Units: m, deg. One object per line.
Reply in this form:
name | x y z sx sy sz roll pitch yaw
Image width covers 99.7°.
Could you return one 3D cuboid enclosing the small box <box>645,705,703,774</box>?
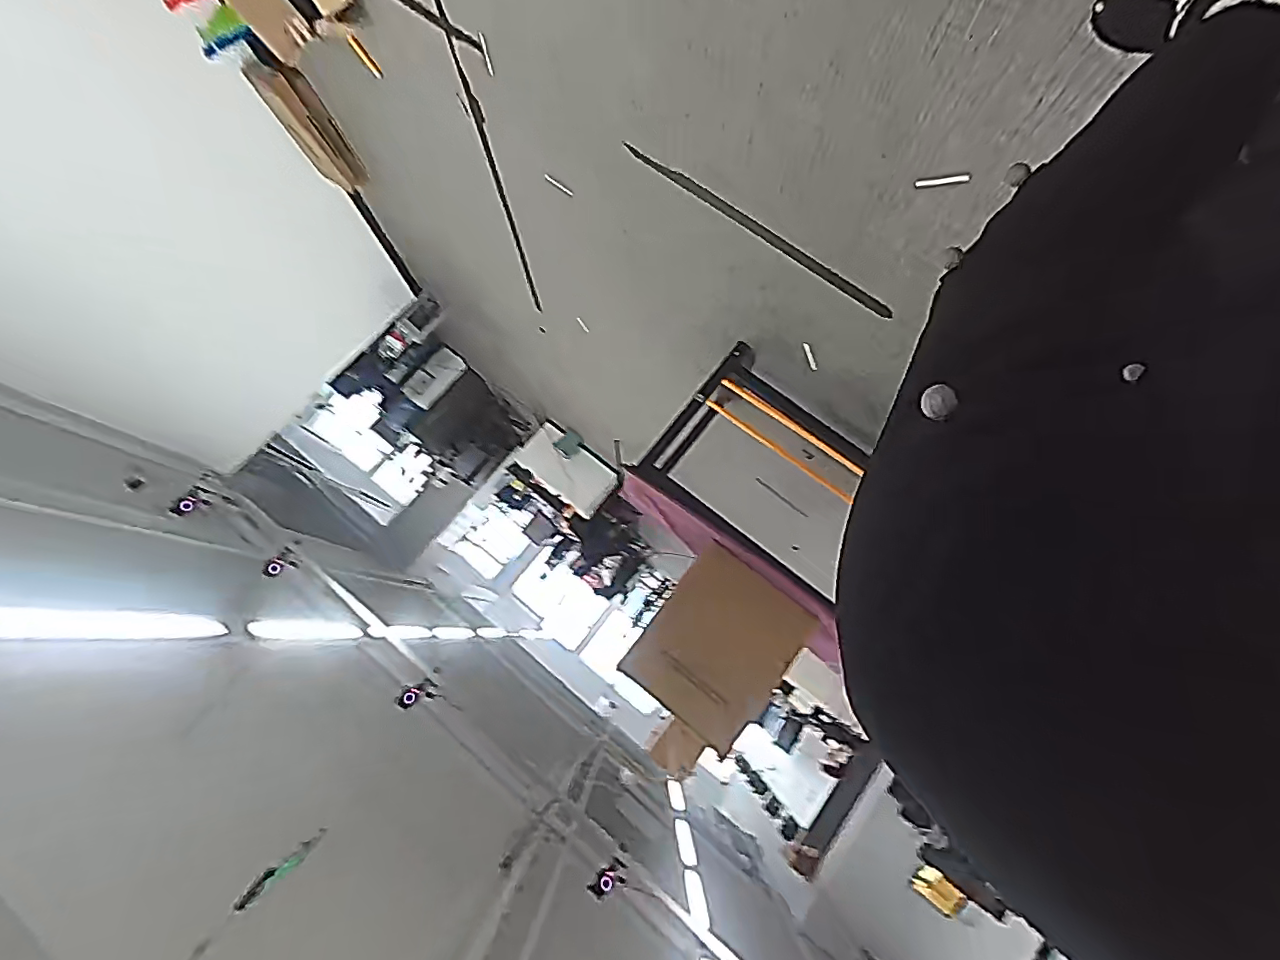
small box | 0.142 1.053 2.204 0.179 0.176 0.168 38 167 14
